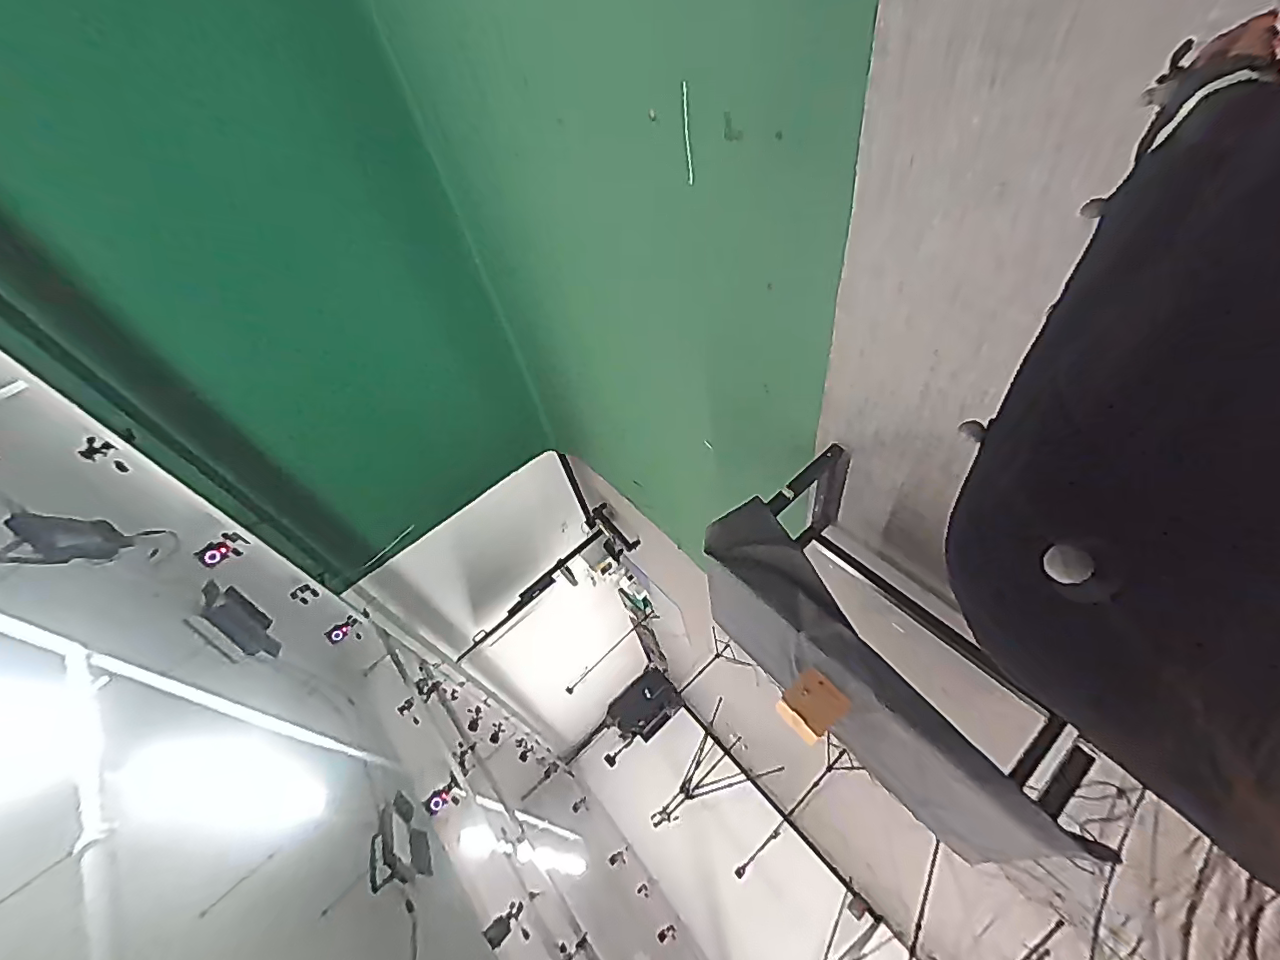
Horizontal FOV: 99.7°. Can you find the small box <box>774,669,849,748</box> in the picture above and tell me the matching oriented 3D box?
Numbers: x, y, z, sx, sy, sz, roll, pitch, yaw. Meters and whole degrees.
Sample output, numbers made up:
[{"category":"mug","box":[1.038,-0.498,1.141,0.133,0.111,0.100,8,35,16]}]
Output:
[{"category":"small box","box":[0.580,0.770,1.828,0.168,0.176,0.179,44,162,30]}]
